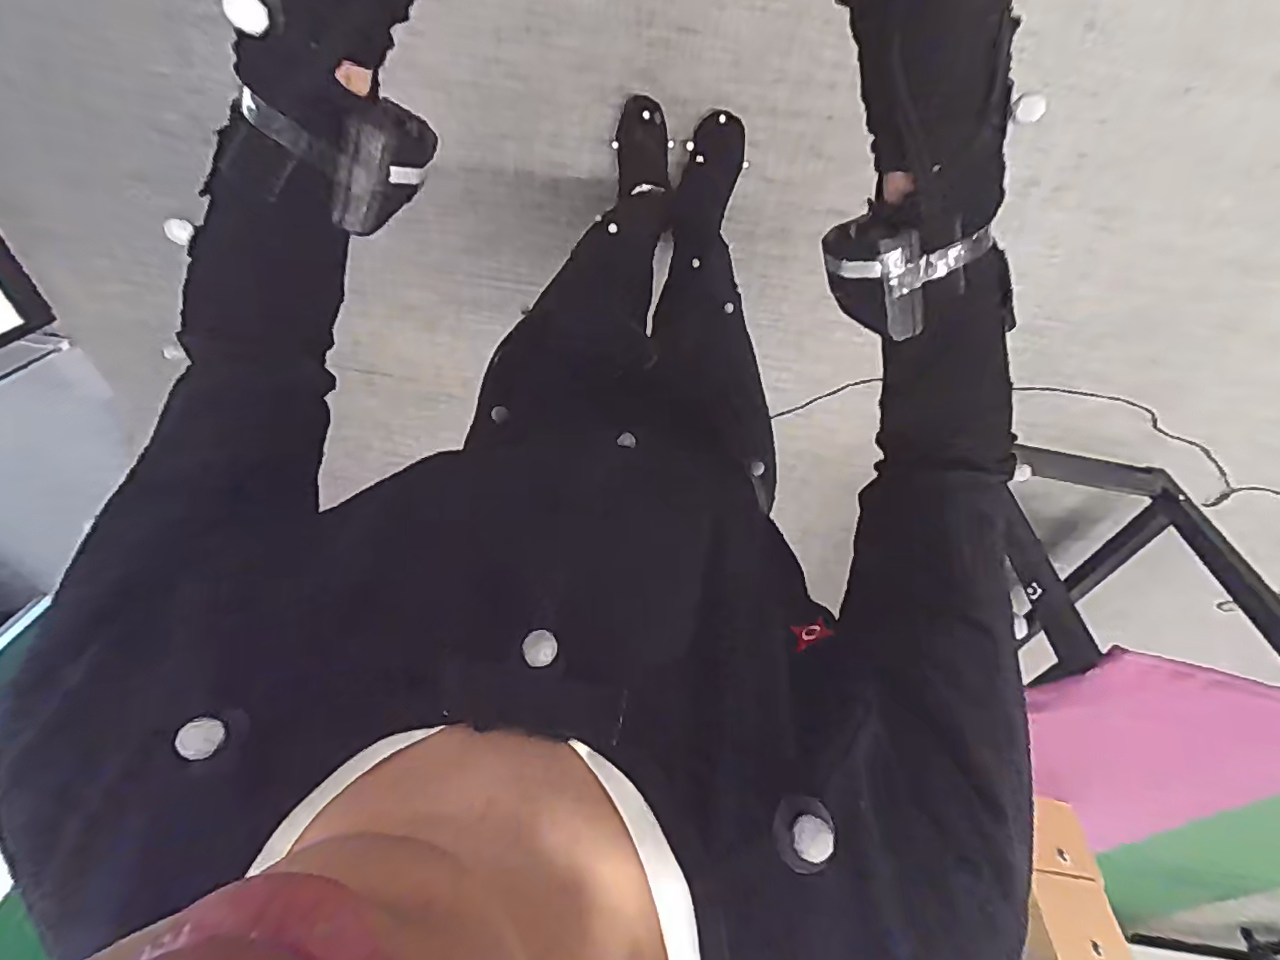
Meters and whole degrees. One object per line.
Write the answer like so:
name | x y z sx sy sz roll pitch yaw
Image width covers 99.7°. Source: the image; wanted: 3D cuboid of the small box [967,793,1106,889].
small box | 0.927 0.868 1.285 0.179 0.176 0.168 14 131 -2

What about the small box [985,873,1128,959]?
small box | 0.893 0.969 1.160 0.179 0.176 0.168 12 131 -2
